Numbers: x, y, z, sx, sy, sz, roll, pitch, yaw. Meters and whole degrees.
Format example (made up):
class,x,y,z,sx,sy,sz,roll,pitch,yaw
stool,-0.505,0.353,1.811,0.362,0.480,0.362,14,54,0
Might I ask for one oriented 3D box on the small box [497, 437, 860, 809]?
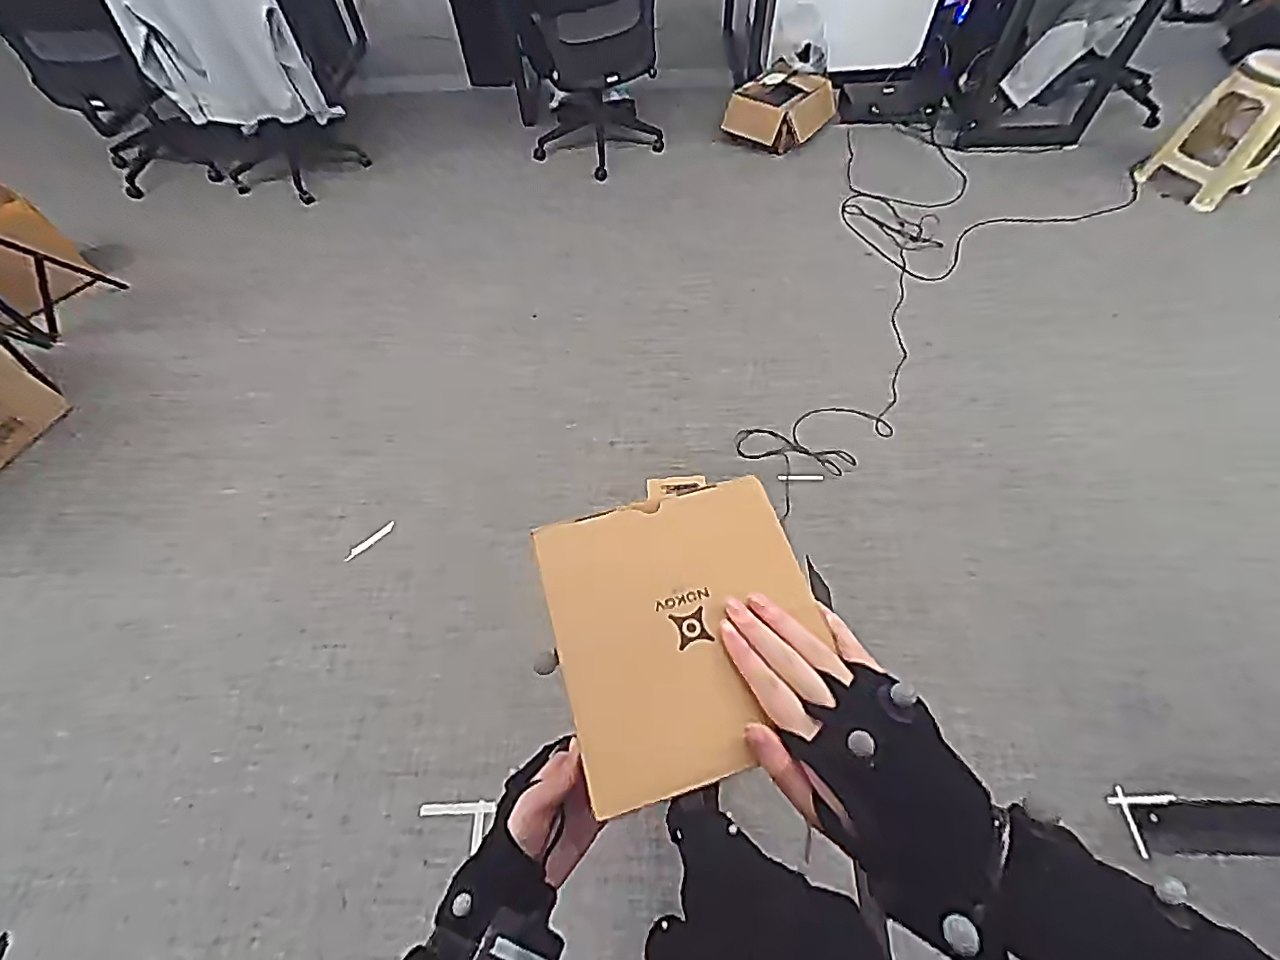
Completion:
class,x,y,z,sx,sy,sz,roll,pitch,yaw
small box,0.027,0.095,0.379,0.179,0.176,0.168,-27,44,2
